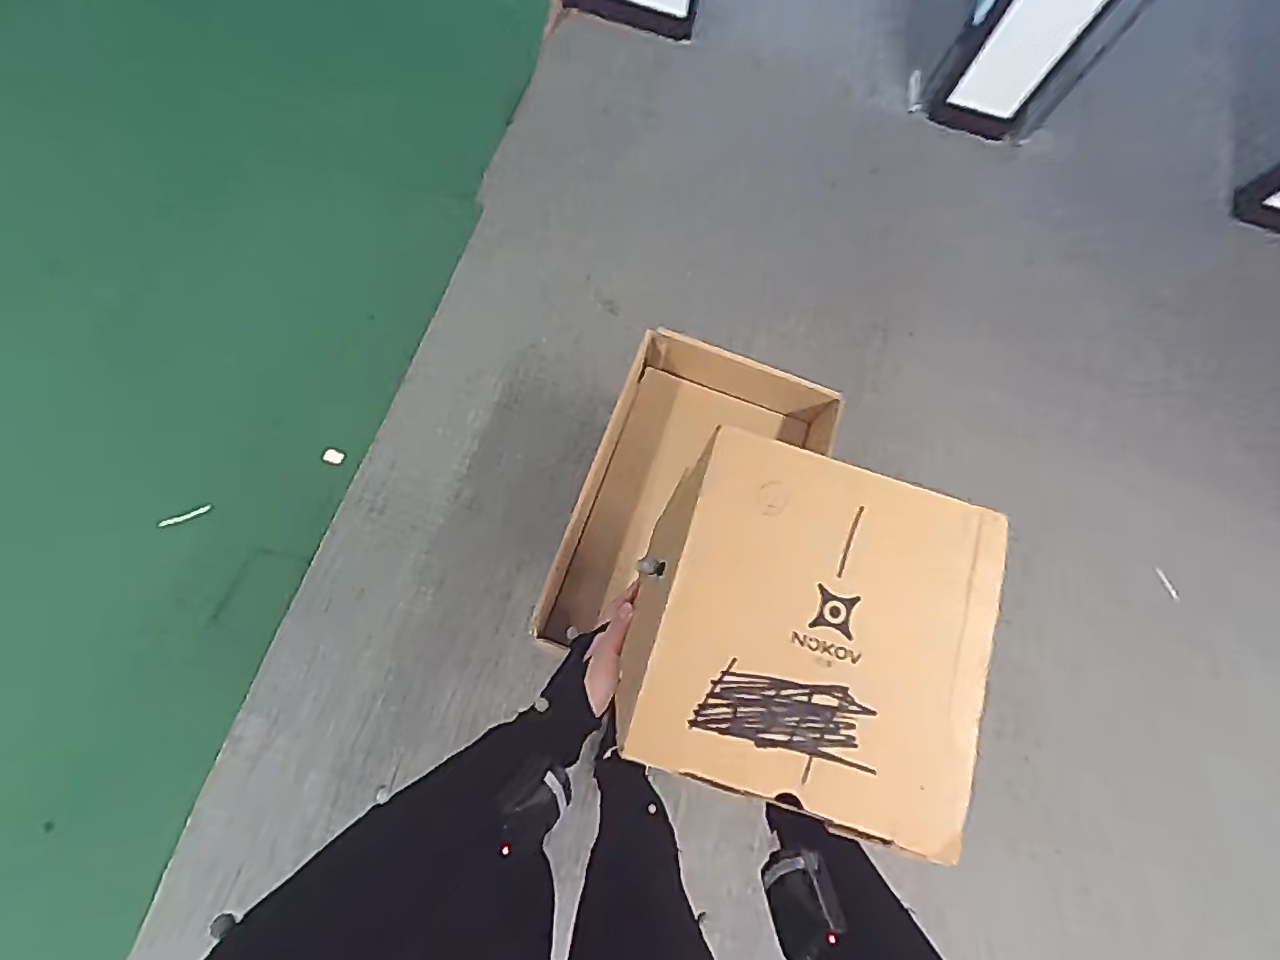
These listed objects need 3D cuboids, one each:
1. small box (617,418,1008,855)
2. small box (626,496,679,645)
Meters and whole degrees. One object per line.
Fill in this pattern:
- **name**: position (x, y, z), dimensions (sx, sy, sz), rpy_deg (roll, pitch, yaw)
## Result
- **small box**: position (0.090, 0.088, 0.349), dimensions (0.168, 0.176, 0.179), rpy_deg (18, 76, 1)
- **small box**: position (0.083, 0.141, 0.673), dimensions (0.168, 0.176, 0.179), rpy_deg (18, 77, 2)
